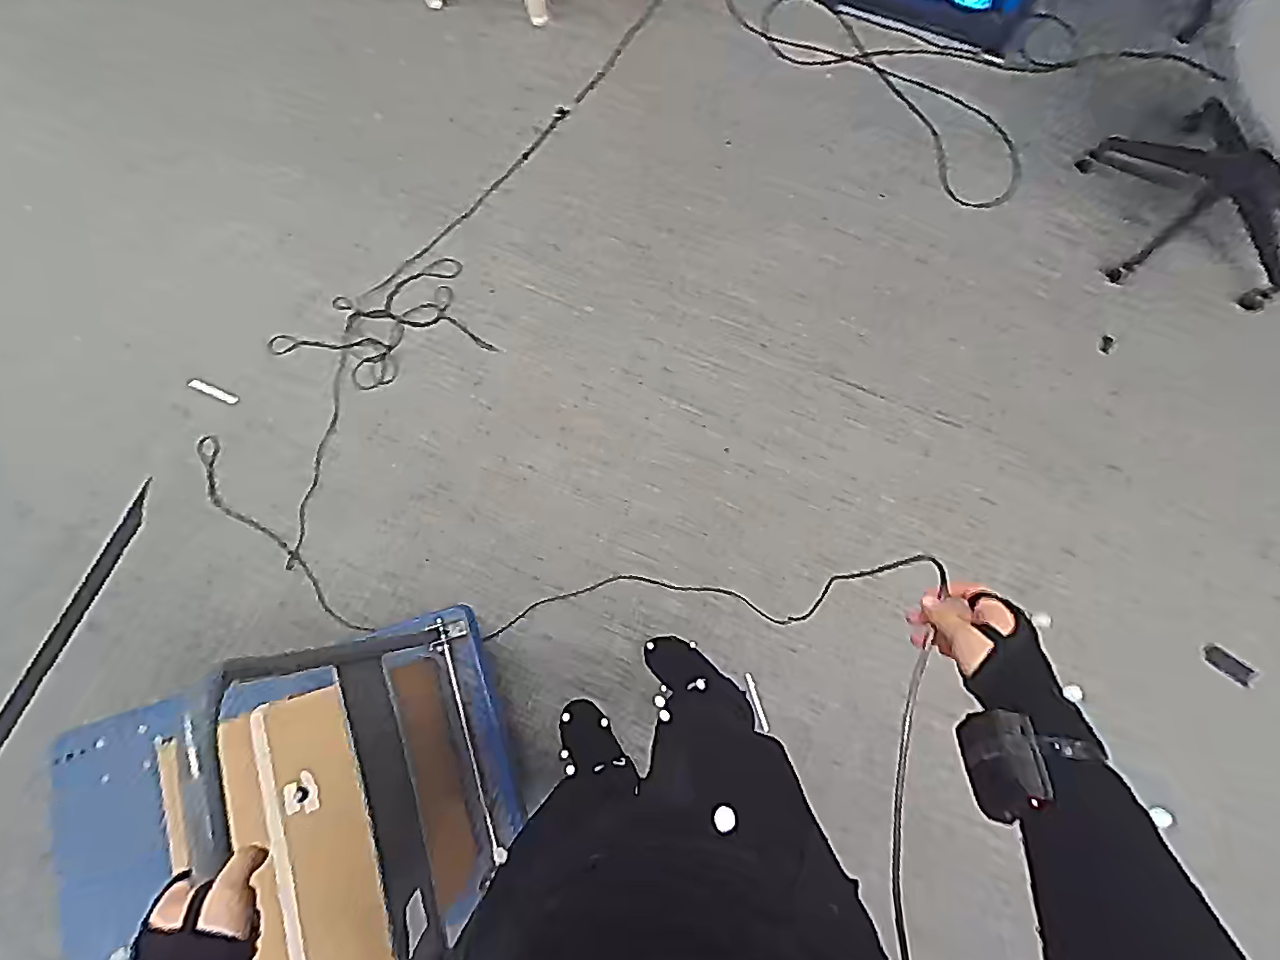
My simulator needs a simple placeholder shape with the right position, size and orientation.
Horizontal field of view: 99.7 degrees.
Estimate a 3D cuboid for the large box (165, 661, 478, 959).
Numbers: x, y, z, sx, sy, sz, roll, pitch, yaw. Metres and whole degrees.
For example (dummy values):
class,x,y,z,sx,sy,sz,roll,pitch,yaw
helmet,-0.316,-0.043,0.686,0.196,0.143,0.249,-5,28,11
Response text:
class,x,y,z,sx,sy,sz,roll,pitch,yaw
large box,-0.516,0.571,0.936,0.320,0.320,0.408,-17,78,-5
